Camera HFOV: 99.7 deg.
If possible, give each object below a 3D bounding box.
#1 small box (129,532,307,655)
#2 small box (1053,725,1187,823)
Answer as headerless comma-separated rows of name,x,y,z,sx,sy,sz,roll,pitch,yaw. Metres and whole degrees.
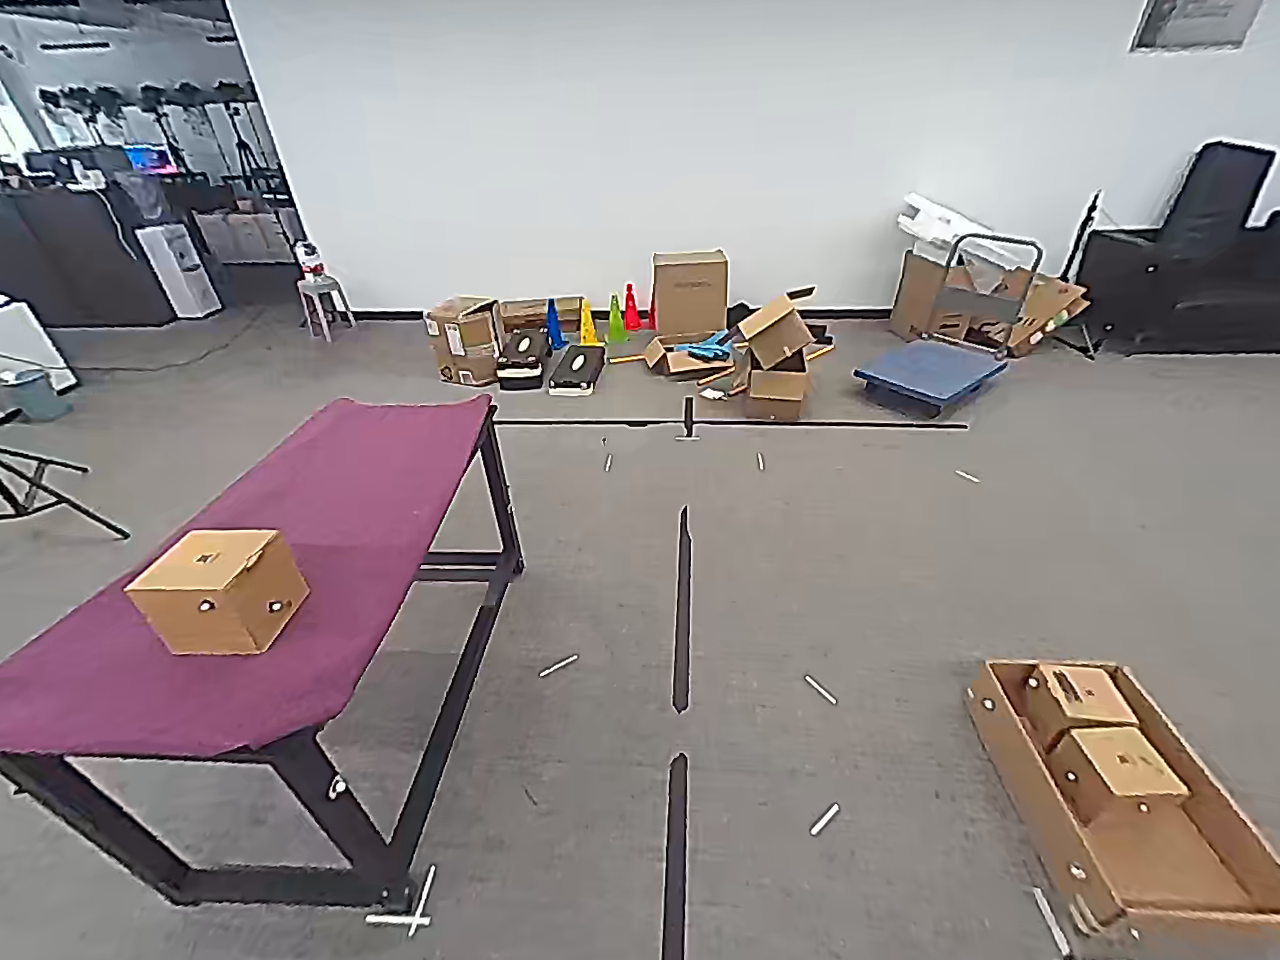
small box,-0.782,0.215,1.025,0.179,0.176,0.168,-1,33,1
small box,1.192,0.744,1.367,0.179,0.176,0.168,-2,35,0
